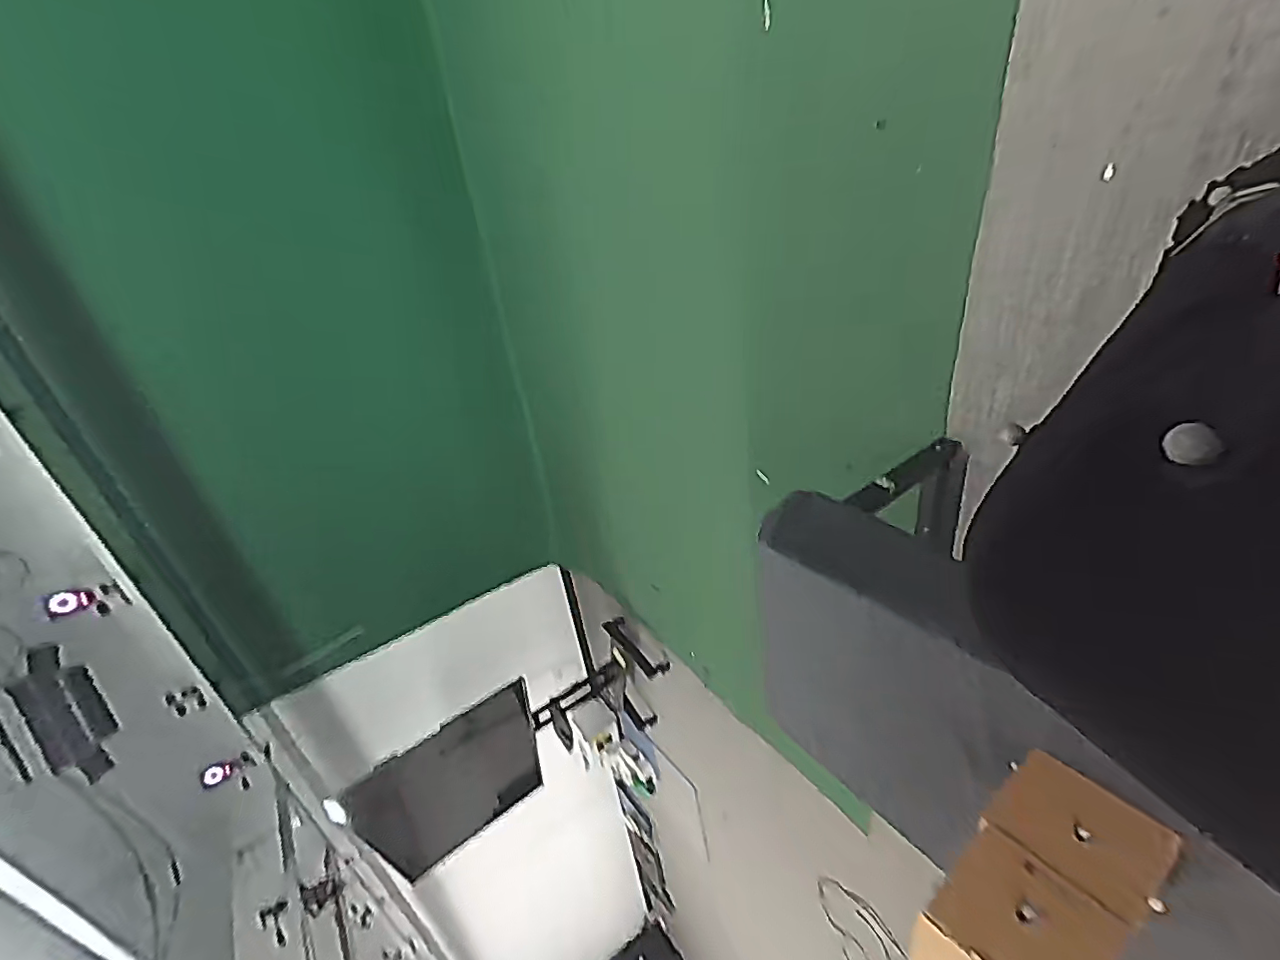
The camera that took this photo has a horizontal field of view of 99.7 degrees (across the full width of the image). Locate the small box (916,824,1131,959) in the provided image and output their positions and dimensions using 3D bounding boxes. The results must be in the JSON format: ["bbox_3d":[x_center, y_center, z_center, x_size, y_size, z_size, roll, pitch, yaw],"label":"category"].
[{"bbox_3d":[0.488,0.599,0.697,0.168,0.176,0.179,28,135,49],"label":"small box"}]

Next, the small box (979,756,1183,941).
[{"bbox_3d":[0.615,0.534,0.776,0.179,0.176,0.168,28,136,47],"label":"small box"}]
